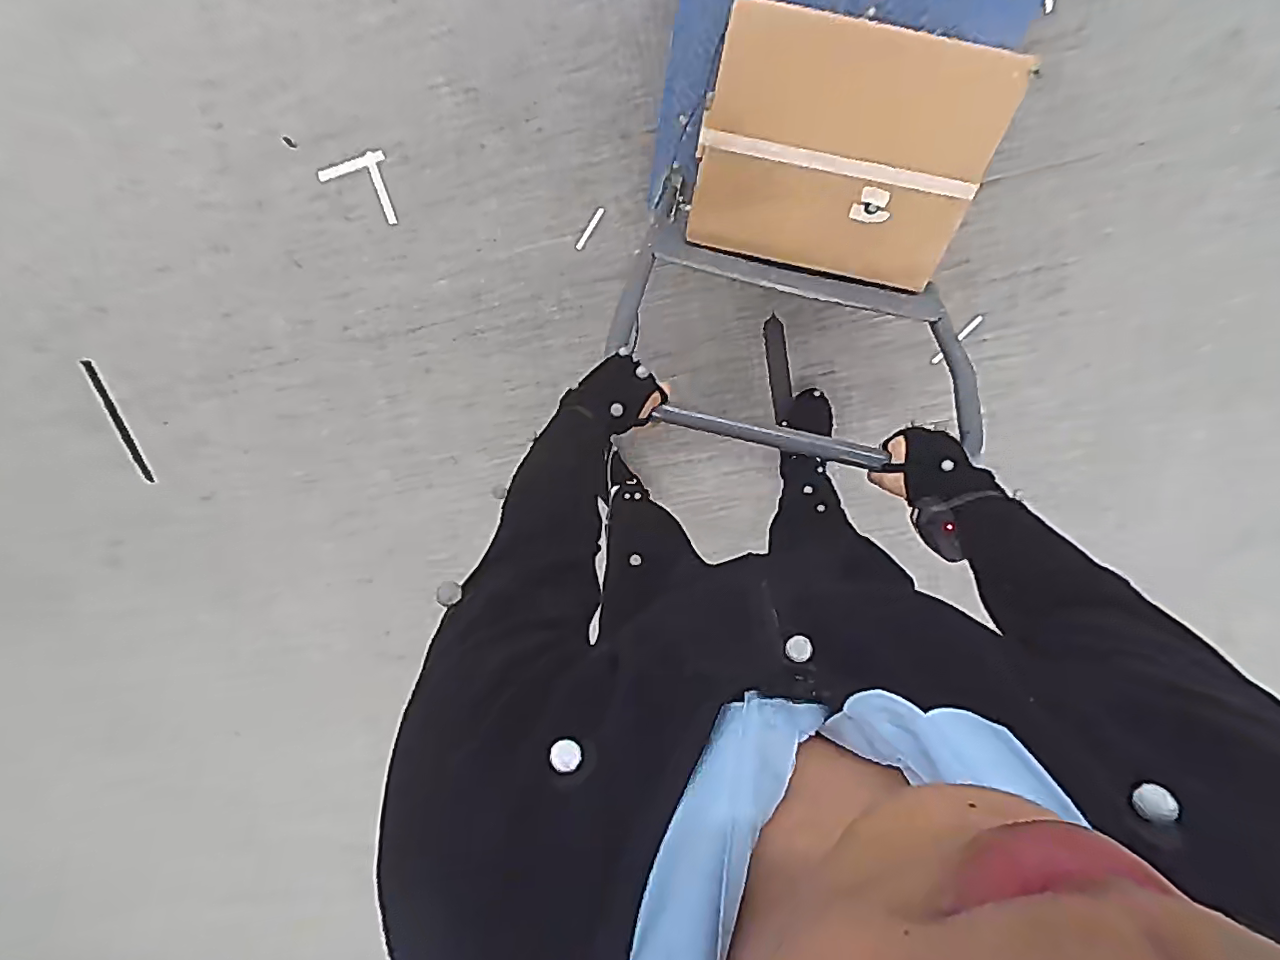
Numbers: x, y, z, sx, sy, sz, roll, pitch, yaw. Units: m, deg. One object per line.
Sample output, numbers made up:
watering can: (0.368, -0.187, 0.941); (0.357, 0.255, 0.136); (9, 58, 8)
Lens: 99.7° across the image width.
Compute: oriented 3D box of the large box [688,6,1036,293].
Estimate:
large box: (0.312, -0.553, 0.902); (0.408, 0.320, 0.320); (12, 133, 0)
